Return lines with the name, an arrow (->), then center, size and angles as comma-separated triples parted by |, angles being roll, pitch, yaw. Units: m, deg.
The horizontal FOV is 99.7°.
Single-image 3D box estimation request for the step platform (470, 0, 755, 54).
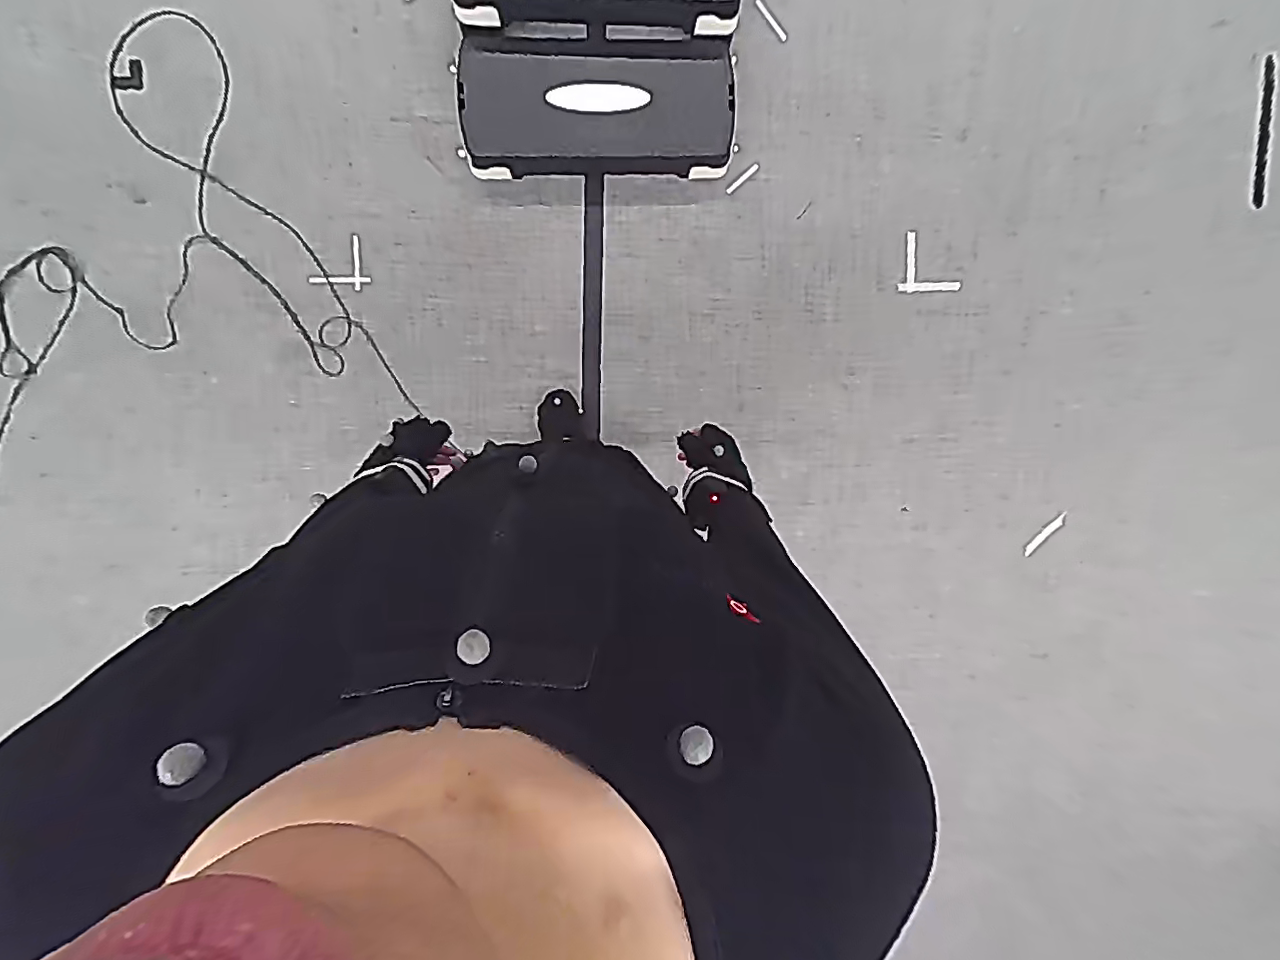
step platform -> -0.064, -1.213, 1.259 | 0.684, 0.204, 0.286 | -2, 96, -4
